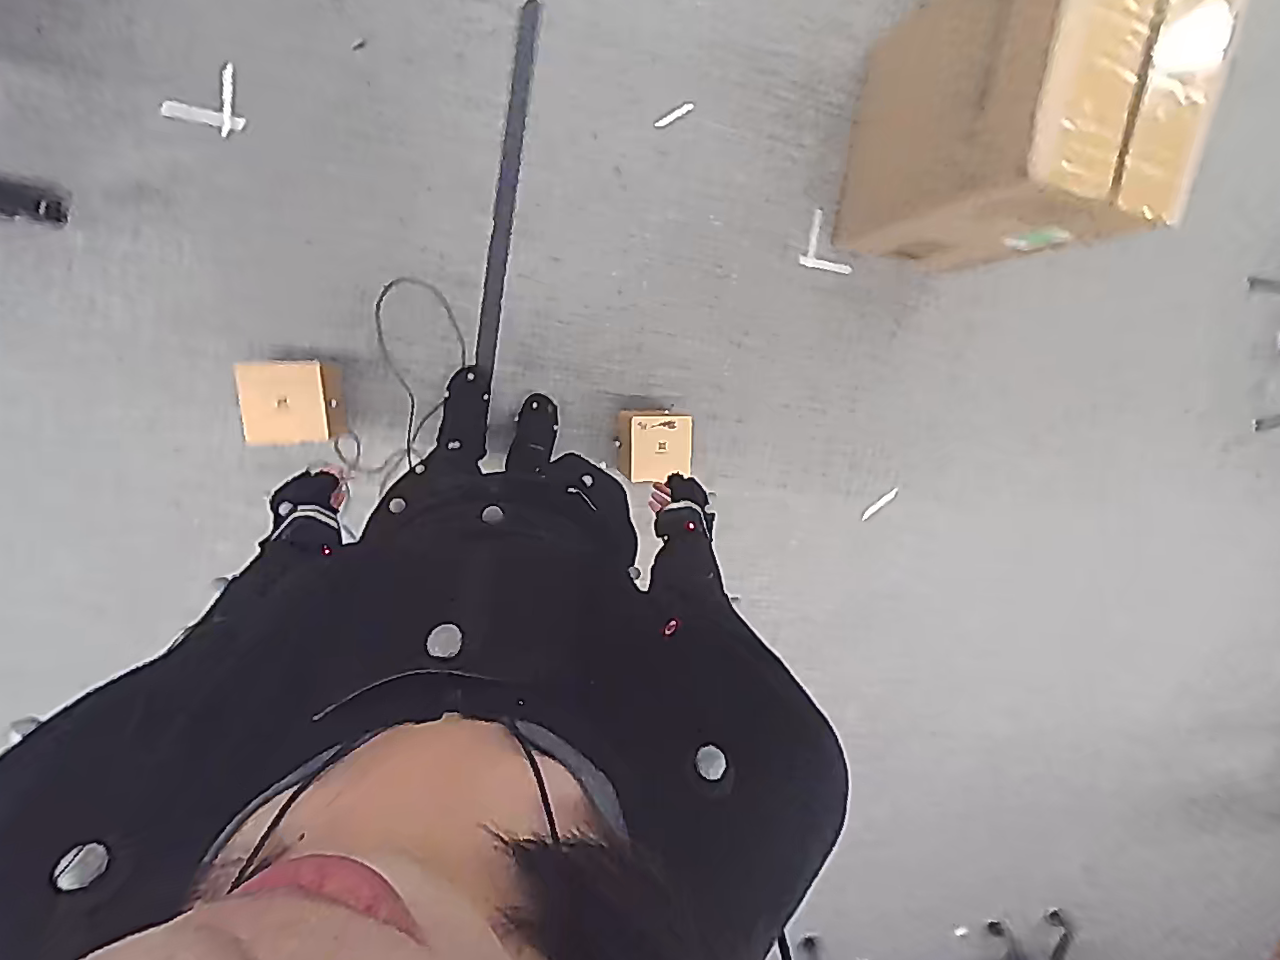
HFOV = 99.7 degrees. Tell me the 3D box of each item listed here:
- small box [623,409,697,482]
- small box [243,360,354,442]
[{"bbox_3d":[0.049,-0.098,1.486,0.168,0.176,0.179,-2,103,-13],"label":"small box"},{"bbox_3d":[-0.786,-0.188,1.262,0.168,0.176,0.179,-4,100,-14],"label":"small box"}]
